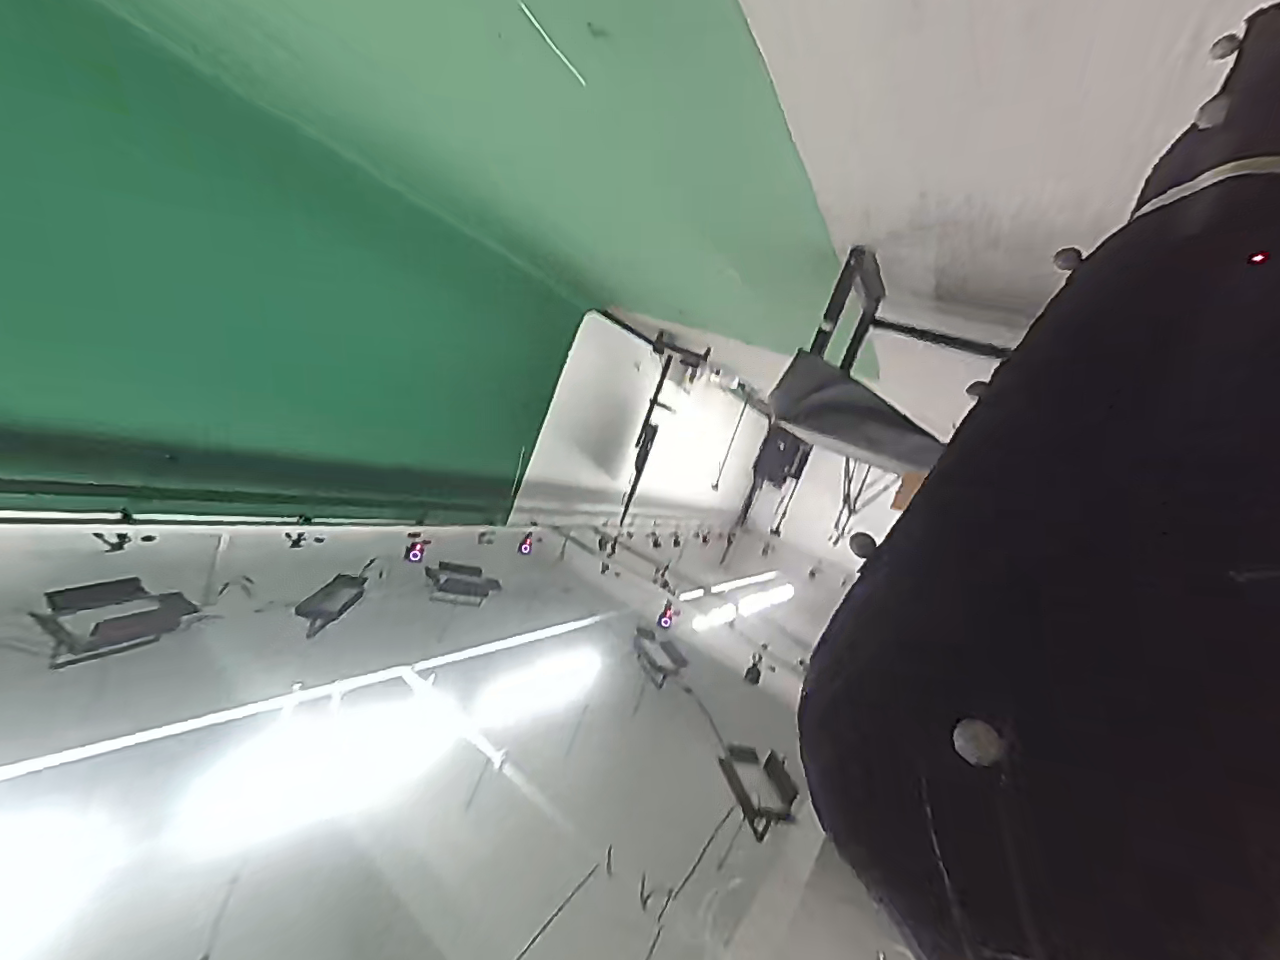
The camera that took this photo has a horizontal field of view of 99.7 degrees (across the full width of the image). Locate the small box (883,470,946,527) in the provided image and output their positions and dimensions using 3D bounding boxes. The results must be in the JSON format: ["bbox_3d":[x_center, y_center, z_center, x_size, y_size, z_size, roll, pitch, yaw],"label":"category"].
[{"bbox_3d":[1.059,0.072,2.084,0.168,0.176,0.179,23,-174,27],"label":"small box"}]
